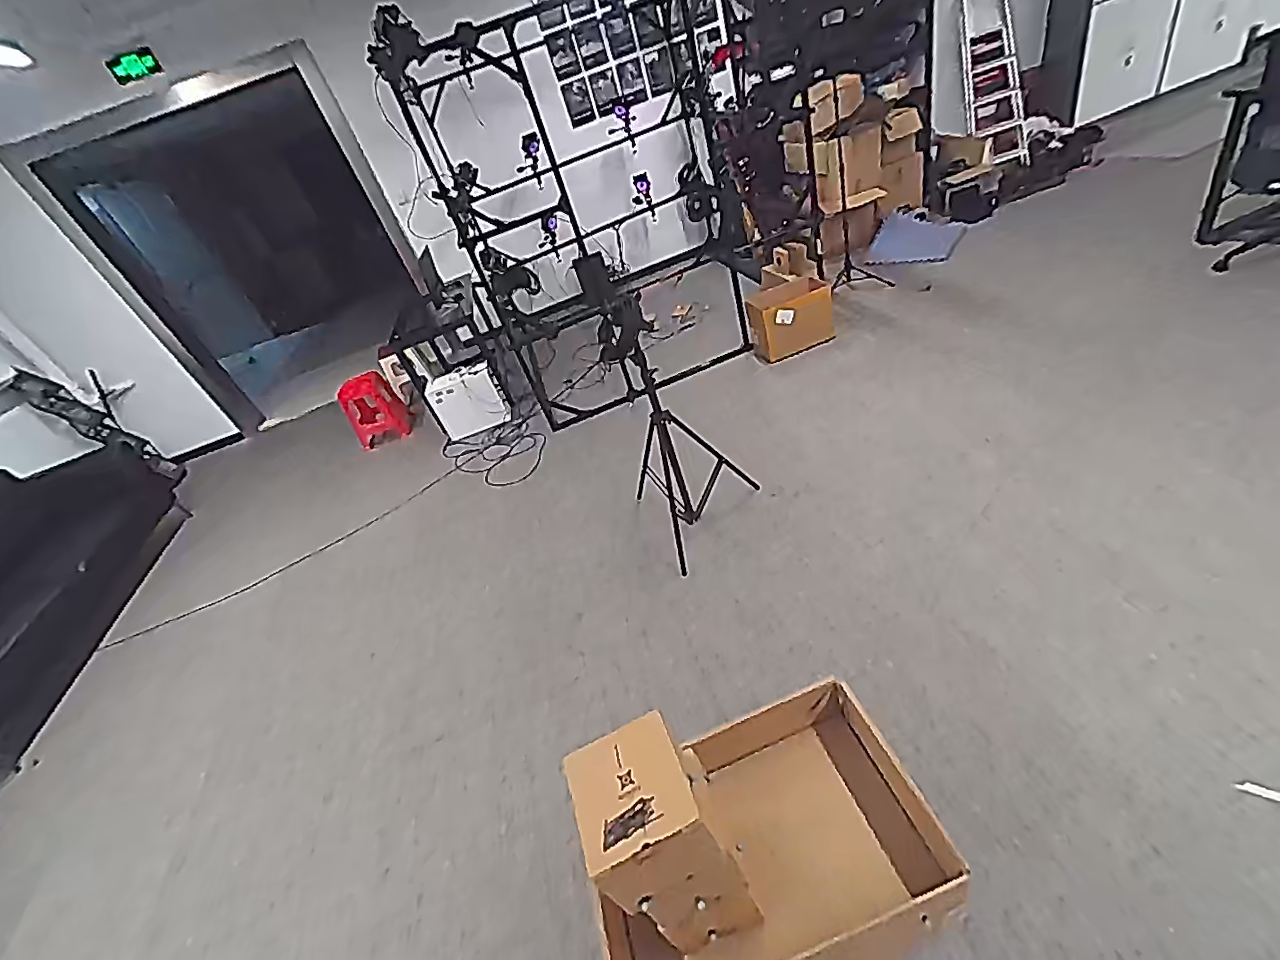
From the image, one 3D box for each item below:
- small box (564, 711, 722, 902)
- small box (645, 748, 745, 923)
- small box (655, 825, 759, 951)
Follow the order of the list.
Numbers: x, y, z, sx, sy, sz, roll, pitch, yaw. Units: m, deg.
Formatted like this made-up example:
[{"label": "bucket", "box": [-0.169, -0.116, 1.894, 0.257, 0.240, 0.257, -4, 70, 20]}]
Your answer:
[{"label": "small box", "box": [0.006, 0.499, 0.820, 0.168, 0.176, 0.179, -25, 36, -5]}, {"label": "small box", "box": [0.062, 0.610, 0.929, 0.168, 0.176, 0.179, -24, 37, -3]}, {"label": "small box", "box": [0.107, 0.737, 1.023, 0.168, 0.176, 0.179, -23, 36, -3]}]
